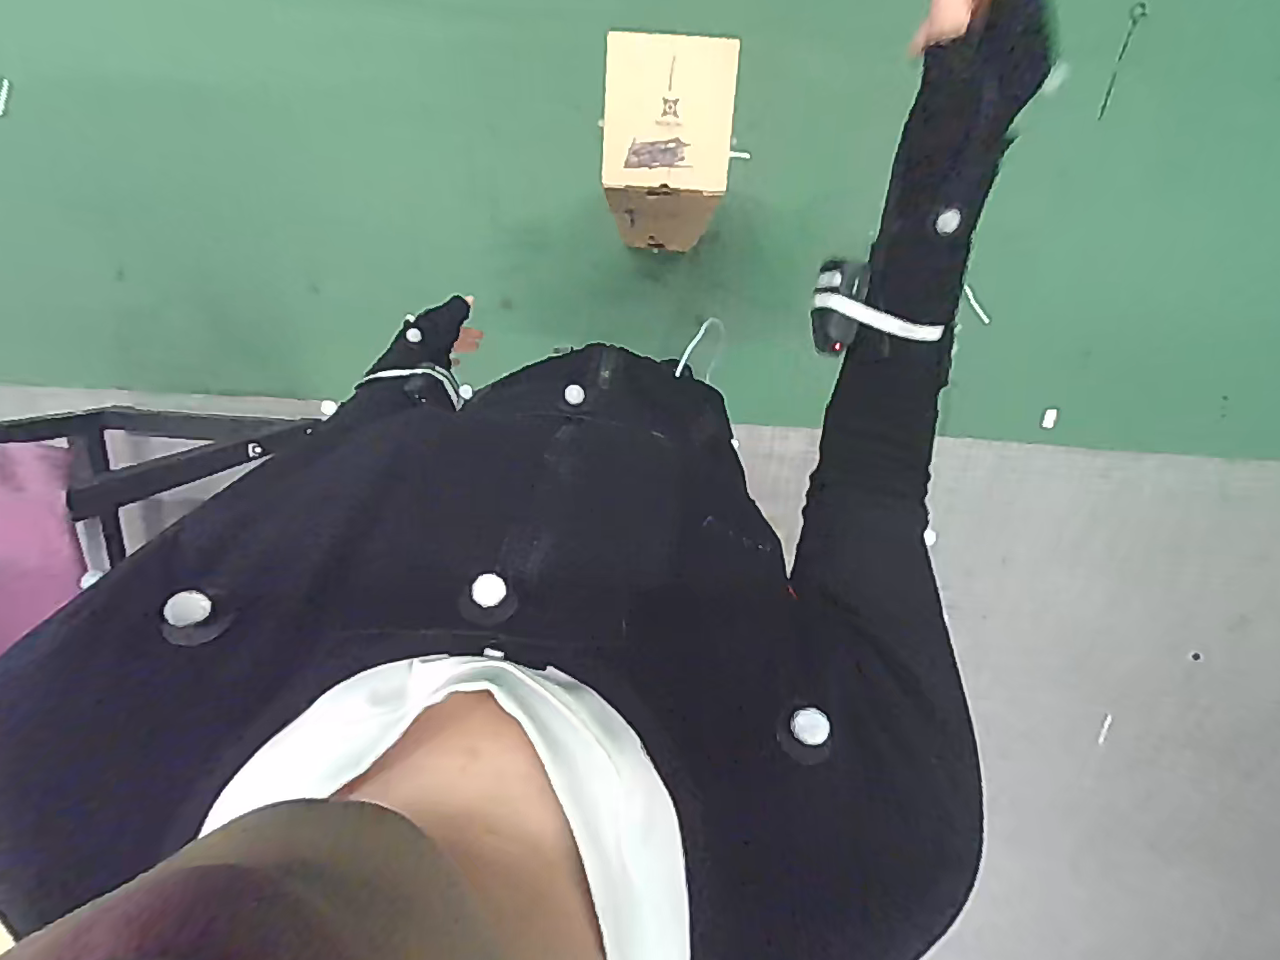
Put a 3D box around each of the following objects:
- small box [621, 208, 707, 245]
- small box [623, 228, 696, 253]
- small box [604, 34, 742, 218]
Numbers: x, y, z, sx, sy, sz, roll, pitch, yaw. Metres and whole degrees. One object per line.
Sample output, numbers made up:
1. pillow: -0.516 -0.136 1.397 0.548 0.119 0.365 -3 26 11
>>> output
1. small box: 0.049 -0.582 1.082 0.168 0.176 0.179 3 106 0
2. small box: 0.053 -0.633 1.237 0.168 0.176 0.179 6 106 0
3. small box: 0.042 -0.484 0.767 0.168 0.176 0.179 4 105 0
